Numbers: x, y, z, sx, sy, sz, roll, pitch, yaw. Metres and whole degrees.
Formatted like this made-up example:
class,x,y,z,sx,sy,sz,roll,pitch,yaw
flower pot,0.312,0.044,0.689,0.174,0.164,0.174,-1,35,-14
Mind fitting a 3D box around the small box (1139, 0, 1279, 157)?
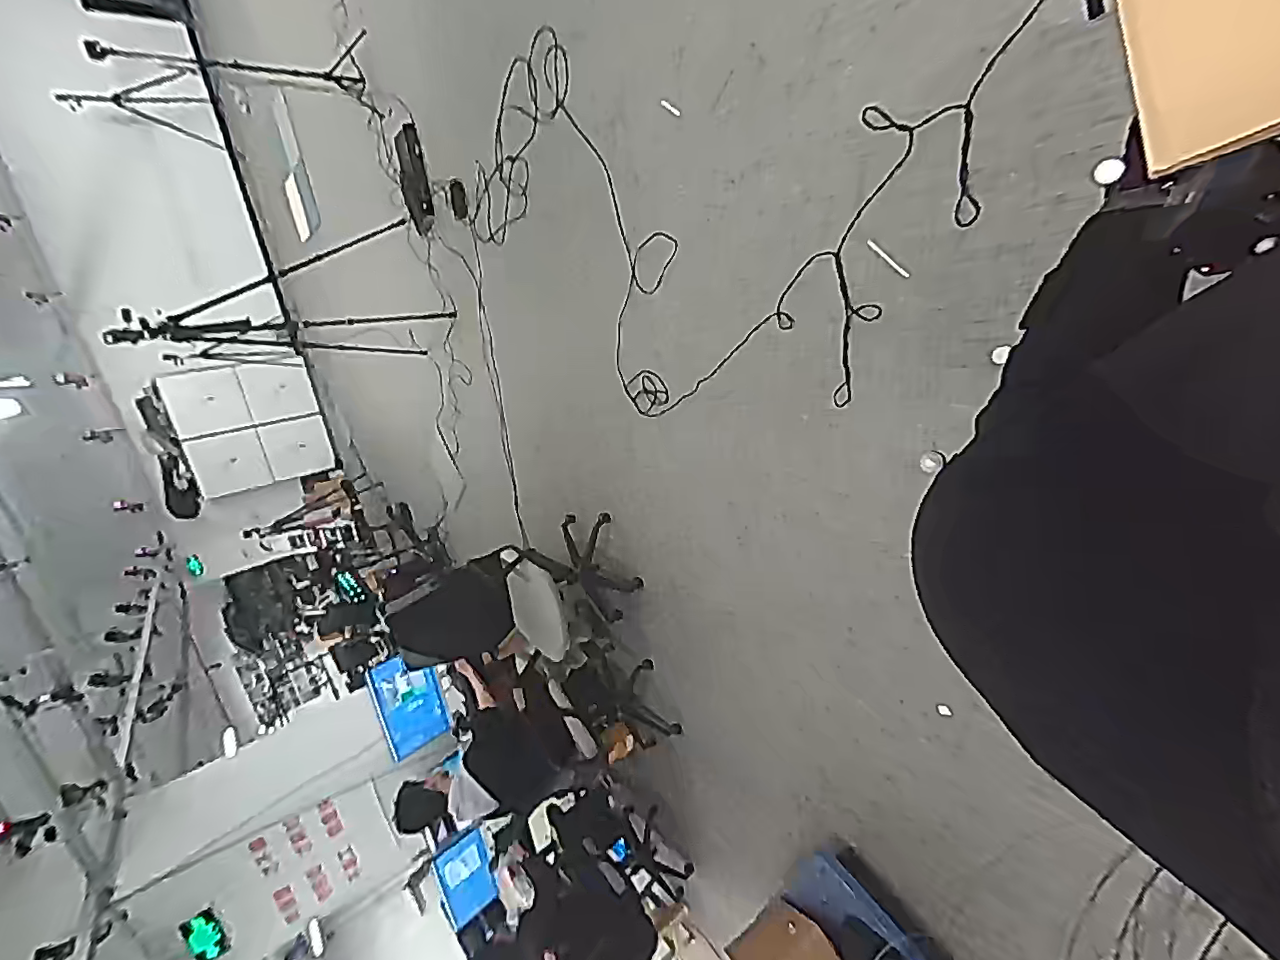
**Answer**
class,x,y,z,sx,sy,sz,roll,pitch,yaw
small box,0.322,-0.263,0.201,0.179,0.168,0.176,-2,109,68
